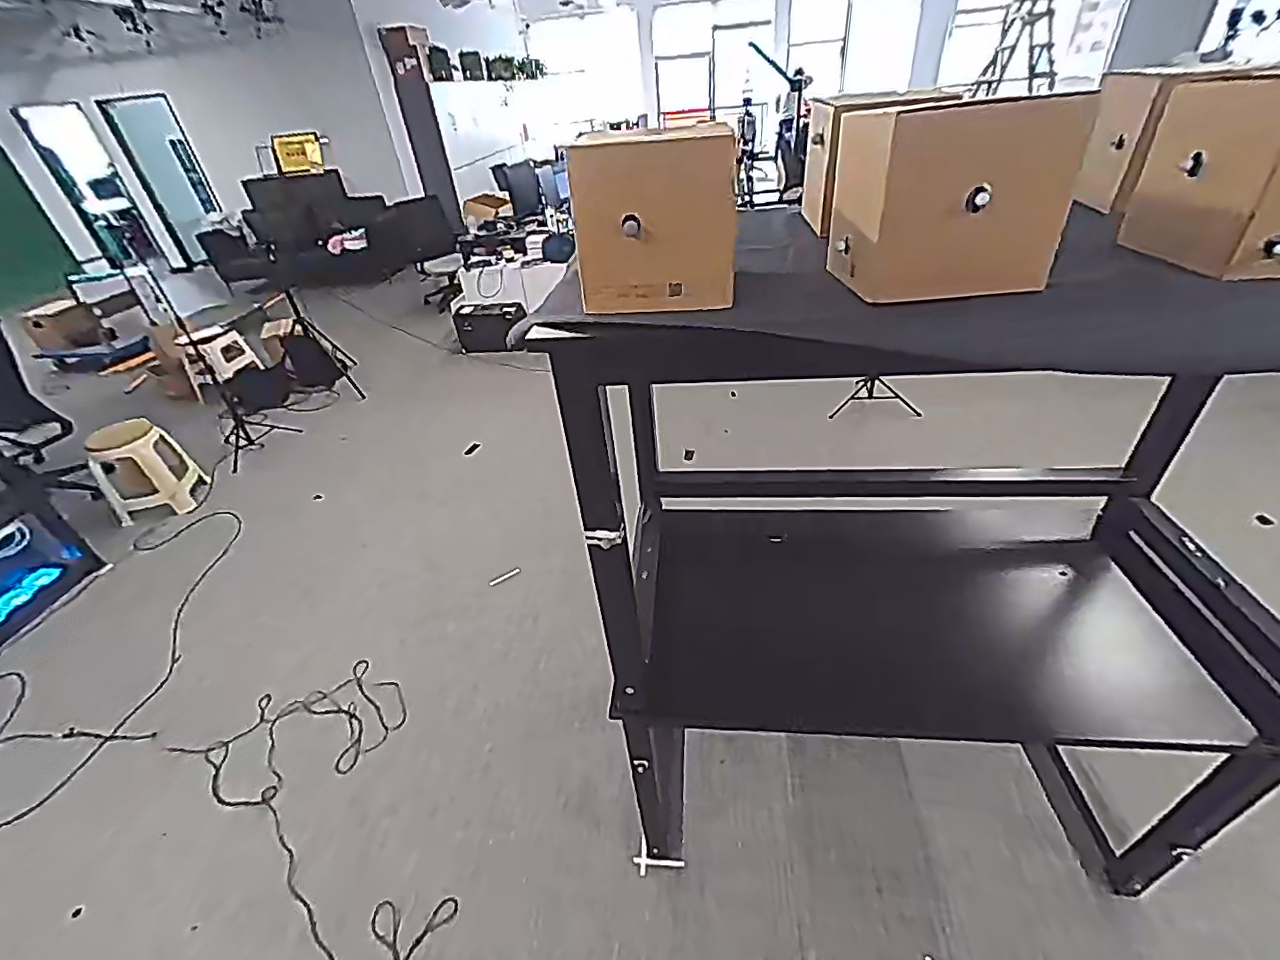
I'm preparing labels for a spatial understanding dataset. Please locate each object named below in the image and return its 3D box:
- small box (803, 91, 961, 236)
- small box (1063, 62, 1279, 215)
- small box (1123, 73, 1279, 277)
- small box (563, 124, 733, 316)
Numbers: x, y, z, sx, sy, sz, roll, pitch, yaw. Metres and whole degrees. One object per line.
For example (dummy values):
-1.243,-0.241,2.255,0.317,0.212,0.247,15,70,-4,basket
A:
0.349,-0.475,0.819,0.168,0.176,0.179,0,37,6,small box
0.760,-0.484,0.776,0.168,0.176,0.179,3,37,11,small box
0.652,-0.306,0.542,0.168,0.176,0.179,-1,34,8,small box
0.020,-0.294,0.618,0.168,0.176,0.179,-1,36,6,small box
